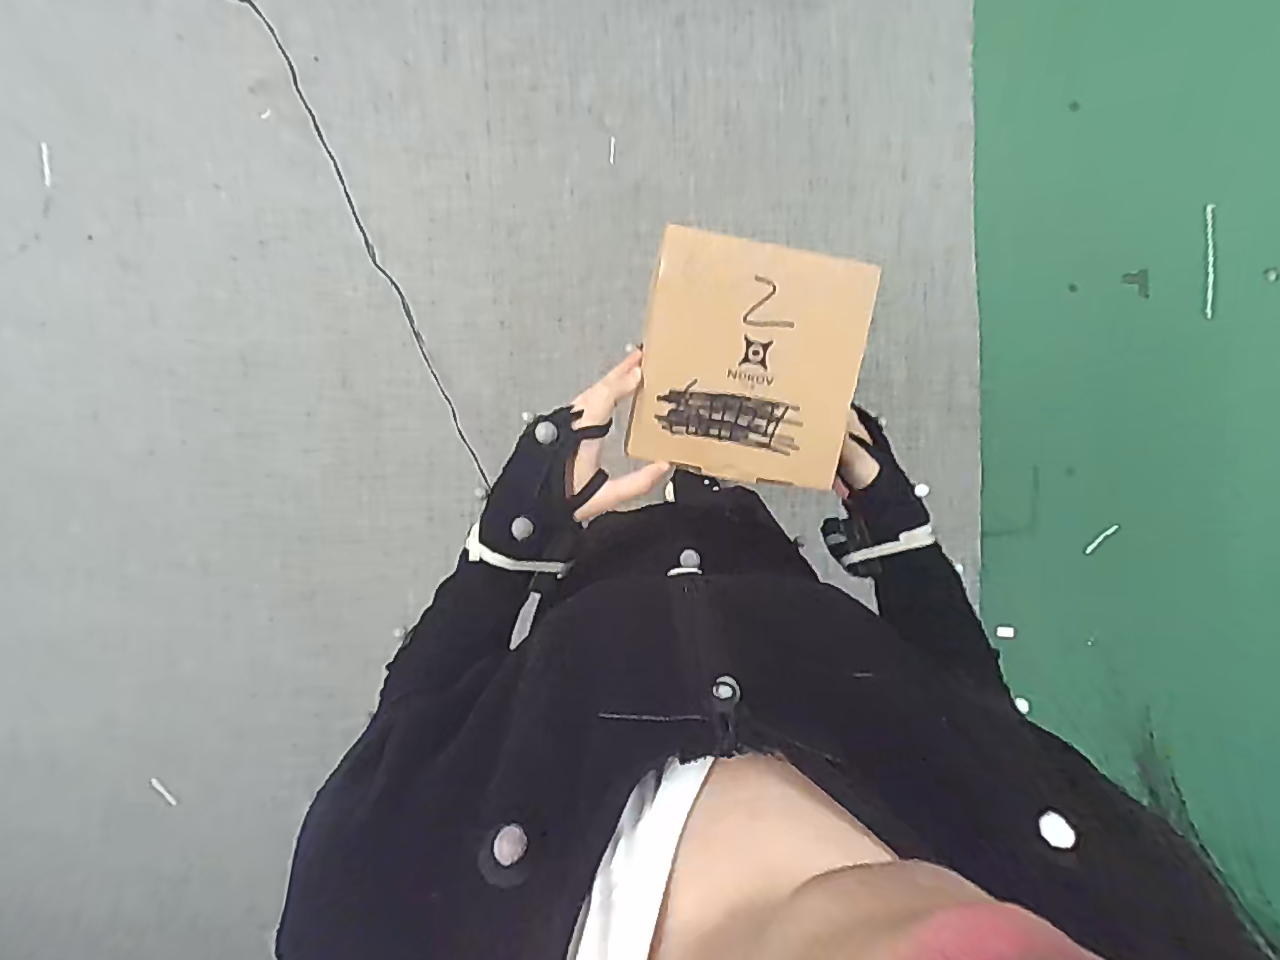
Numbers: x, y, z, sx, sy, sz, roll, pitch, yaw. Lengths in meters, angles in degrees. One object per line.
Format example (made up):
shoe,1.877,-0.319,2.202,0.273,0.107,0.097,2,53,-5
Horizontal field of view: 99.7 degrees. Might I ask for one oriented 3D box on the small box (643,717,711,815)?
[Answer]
small box,0.095,0.751,1.431,0.168,0.176,0.179,-1,90,-2
